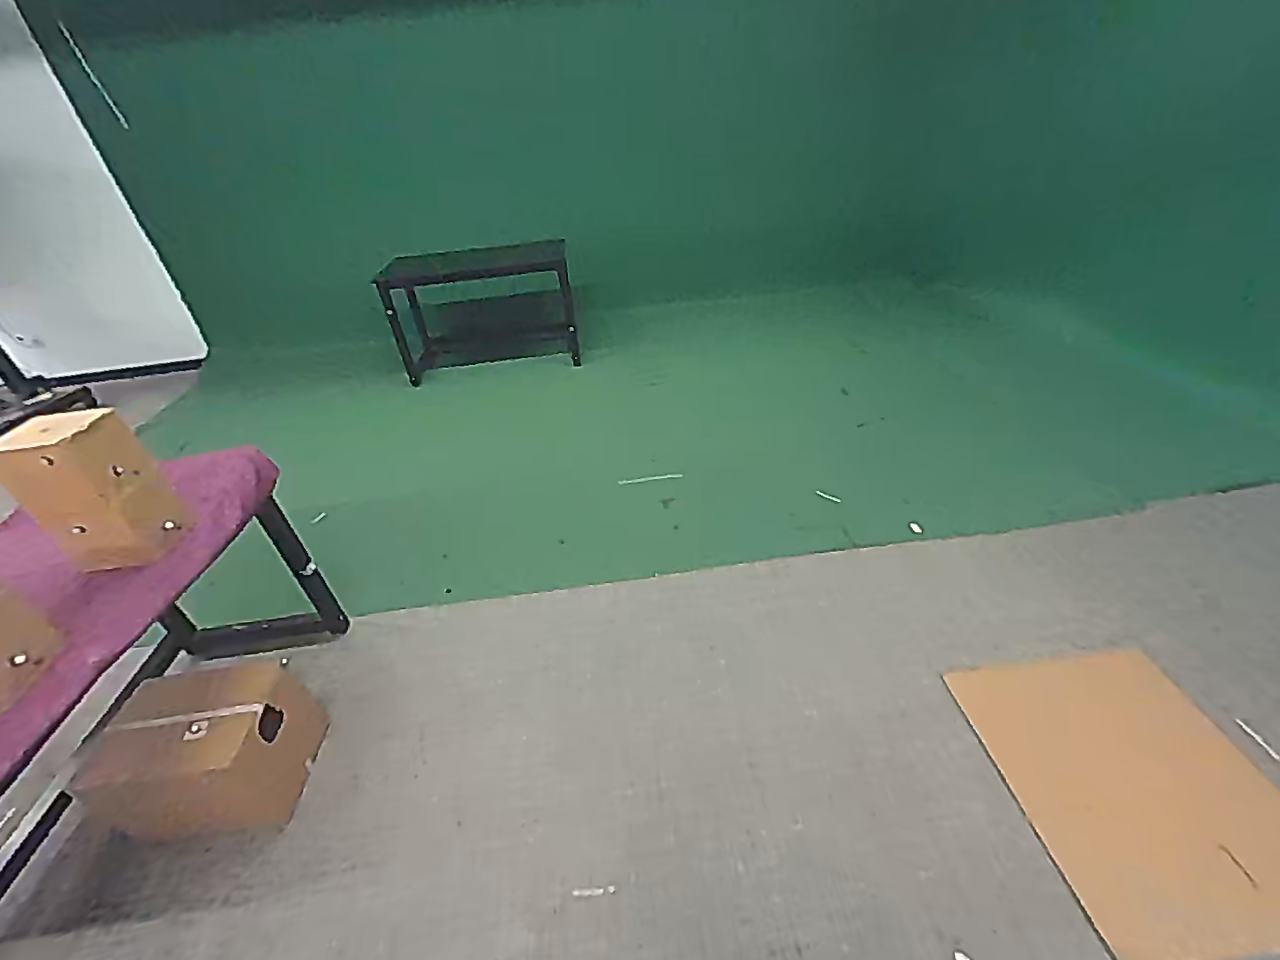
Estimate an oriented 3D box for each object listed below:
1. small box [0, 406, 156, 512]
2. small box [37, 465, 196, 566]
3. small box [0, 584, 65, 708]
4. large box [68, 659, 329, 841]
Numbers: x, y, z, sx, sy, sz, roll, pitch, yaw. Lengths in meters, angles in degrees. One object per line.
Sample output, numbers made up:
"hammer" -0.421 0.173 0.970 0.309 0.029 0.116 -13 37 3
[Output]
"small box" -1.249 -0.045 1.195 0.179 0.176 0.168 -7 35 -2
"small box" -1.229 0.087 1.288 0.179 0.176 0.168 -7 35 -2
"small box" -1.222 0.314 0.964 0.179 0.176 0.168 -9 36 -2
"large box" -1.176 0.745 1.501 0.408 0.320 0.320 -7 36 -2
